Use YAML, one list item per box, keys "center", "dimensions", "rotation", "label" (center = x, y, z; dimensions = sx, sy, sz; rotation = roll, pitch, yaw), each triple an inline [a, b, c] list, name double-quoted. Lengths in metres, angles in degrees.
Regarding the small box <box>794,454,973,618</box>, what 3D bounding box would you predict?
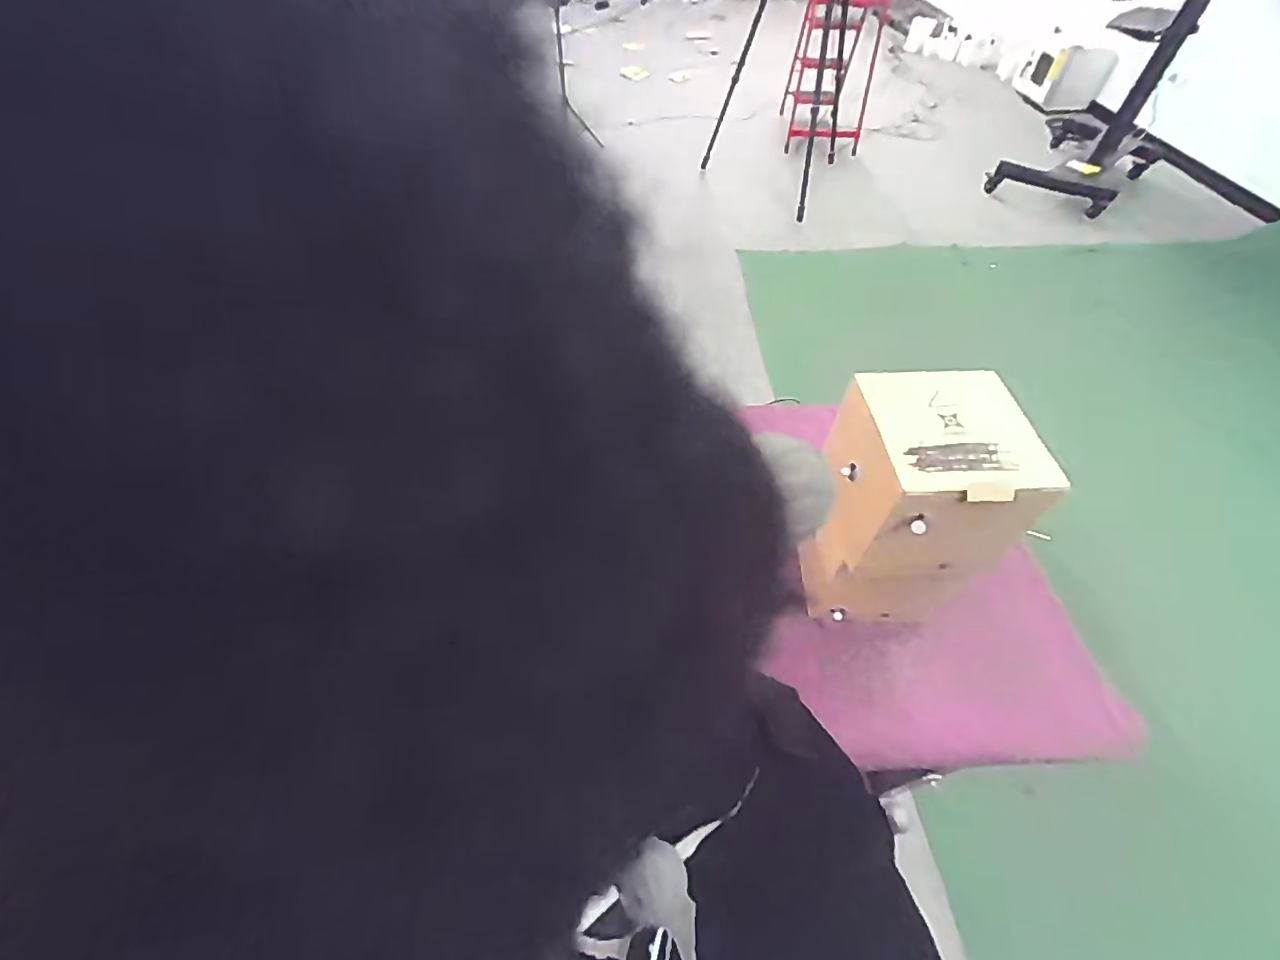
- center: [0.328, 0.084, 0.771]
  dimensions: [0.168, 0.176, 0.179]
  rotation: [2, 52, 1]
  label: "small box"
